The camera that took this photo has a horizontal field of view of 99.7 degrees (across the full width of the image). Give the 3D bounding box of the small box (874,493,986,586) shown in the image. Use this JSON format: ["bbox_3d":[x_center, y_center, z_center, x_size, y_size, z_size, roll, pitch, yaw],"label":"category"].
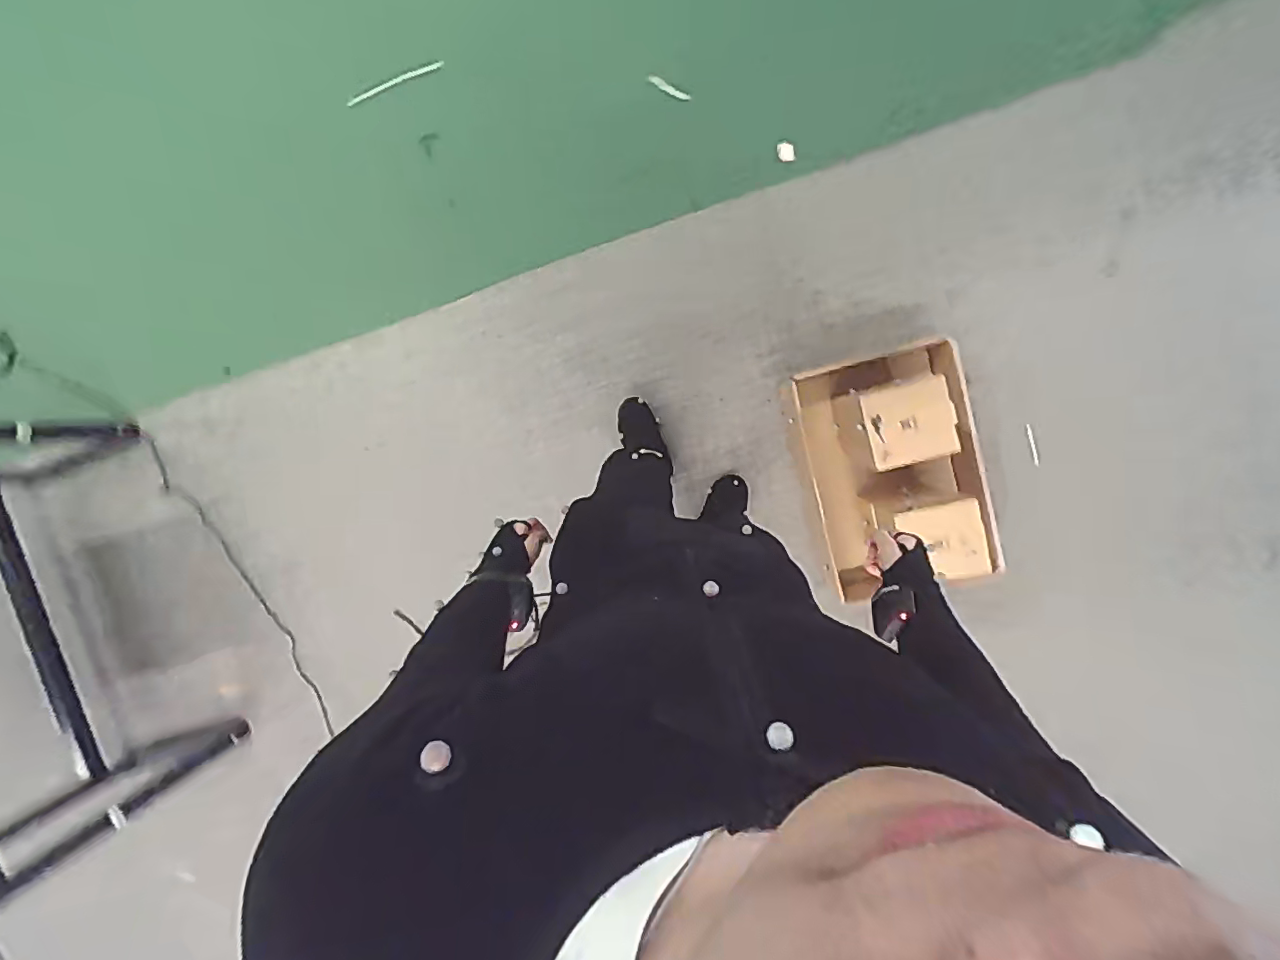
[{"bbox_3d":[0.656,0.132,1.247,0.179,0.176,0.168,-12,94,9],"label":"small box"}]

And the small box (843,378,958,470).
[{"bbox_3d":[0.581,-0.128,1.225,0.179,0.176,0.168,-14,94,10],"label":"small box"}]

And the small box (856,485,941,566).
[{"bbox_3d":[0.677,0.114,1.409,0.179,0.176,0.168,-12,94,9],"label":"small box"}]
